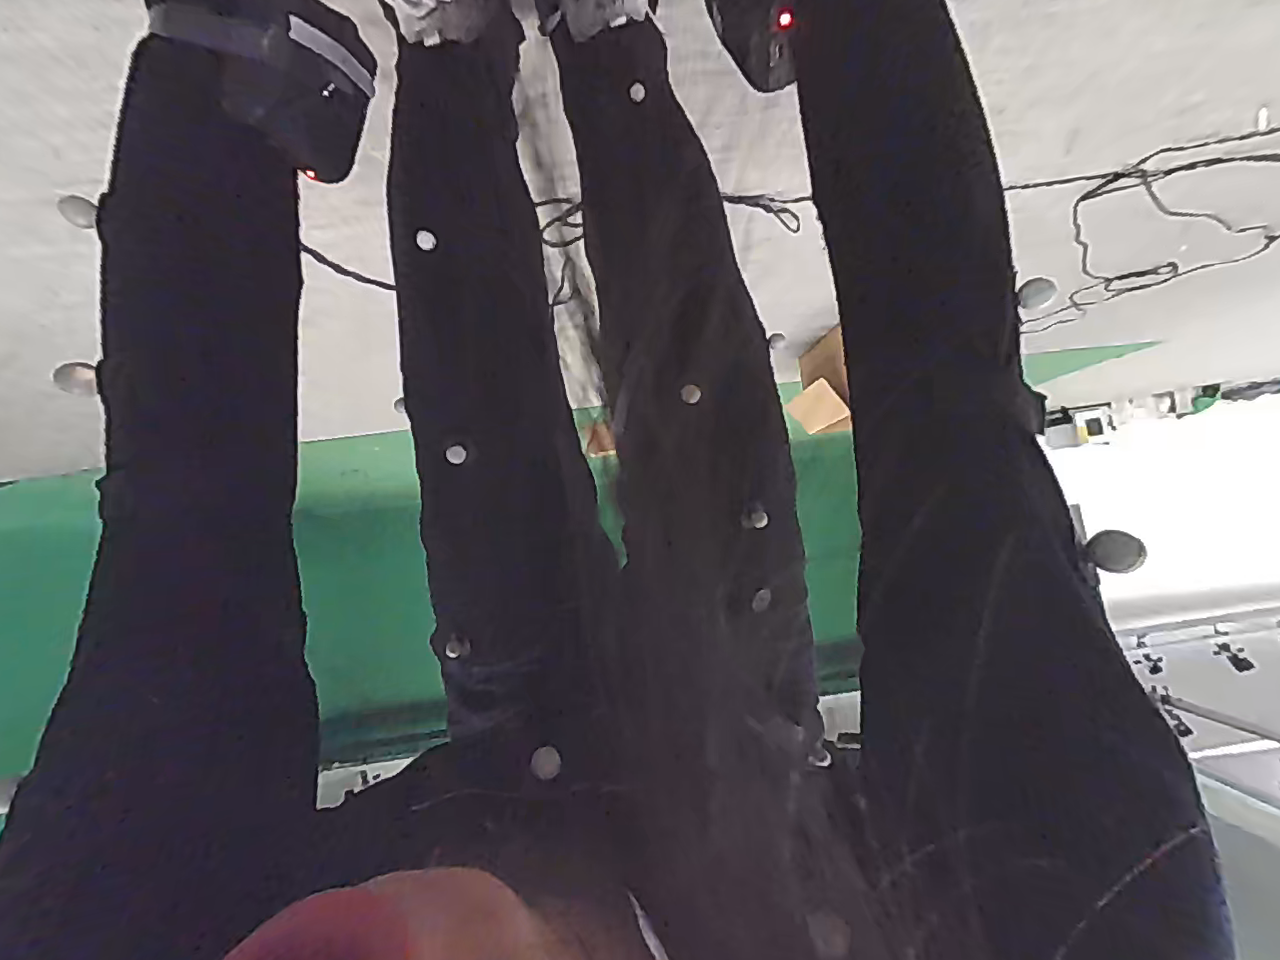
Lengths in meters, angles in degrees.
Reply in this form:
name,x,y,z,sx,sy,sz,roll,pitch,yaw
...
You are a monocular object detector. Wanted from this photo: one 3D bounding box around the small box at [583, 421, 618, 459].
name,x,y,z,sx,sy,sz,roll,pitch,yaw
small box,-0.219,-0.222,3.006,0.179,0.176,0.168,-9,176,0
